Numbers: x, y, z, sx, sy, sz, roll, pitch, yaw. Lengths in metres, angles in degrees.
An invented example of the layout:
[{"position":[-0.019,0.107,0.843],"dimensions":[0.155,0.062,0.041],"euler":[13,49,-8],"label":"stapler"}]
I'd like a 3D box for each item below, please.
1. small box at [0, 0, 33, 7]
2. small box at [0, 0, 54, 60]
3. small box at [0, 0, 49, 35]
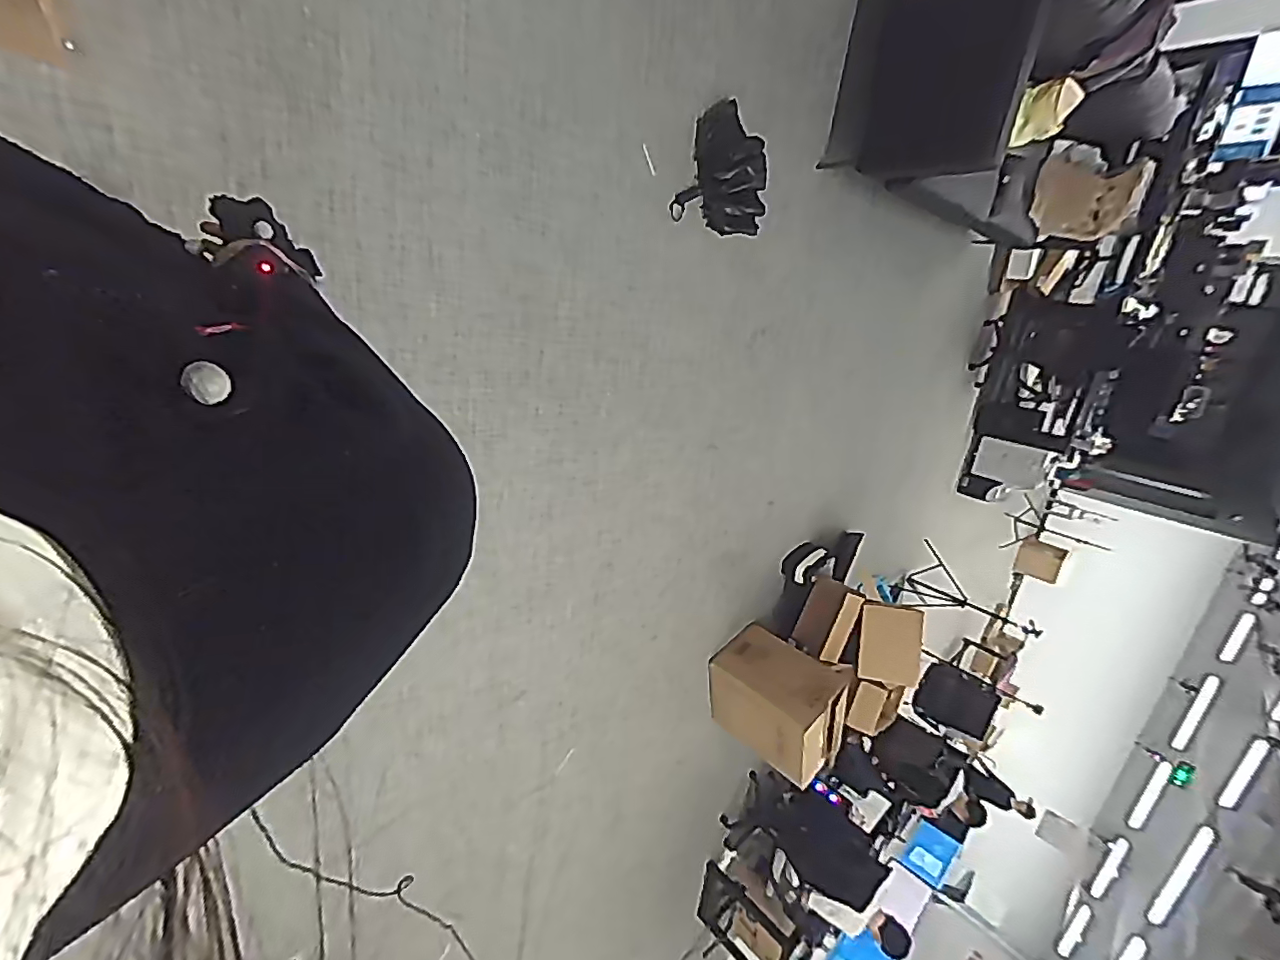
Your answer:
[{"position":[-0.731,-0.617,0.532],"dimensions":[0.179,0.176,0.168],"euler":[-2,109,-43],"label":"small box"},{"position":[-0.948,-0.723,0.751],"dimensions":[0.179,0.176,0.168],"euler":[-3,110,-43],"label":"small box"},{"position":[-0.841,-0.671,0.643],"dimensions":[0.179,0.176,0.168],"euler":[-5,113,-43],"label":"small box"}]
